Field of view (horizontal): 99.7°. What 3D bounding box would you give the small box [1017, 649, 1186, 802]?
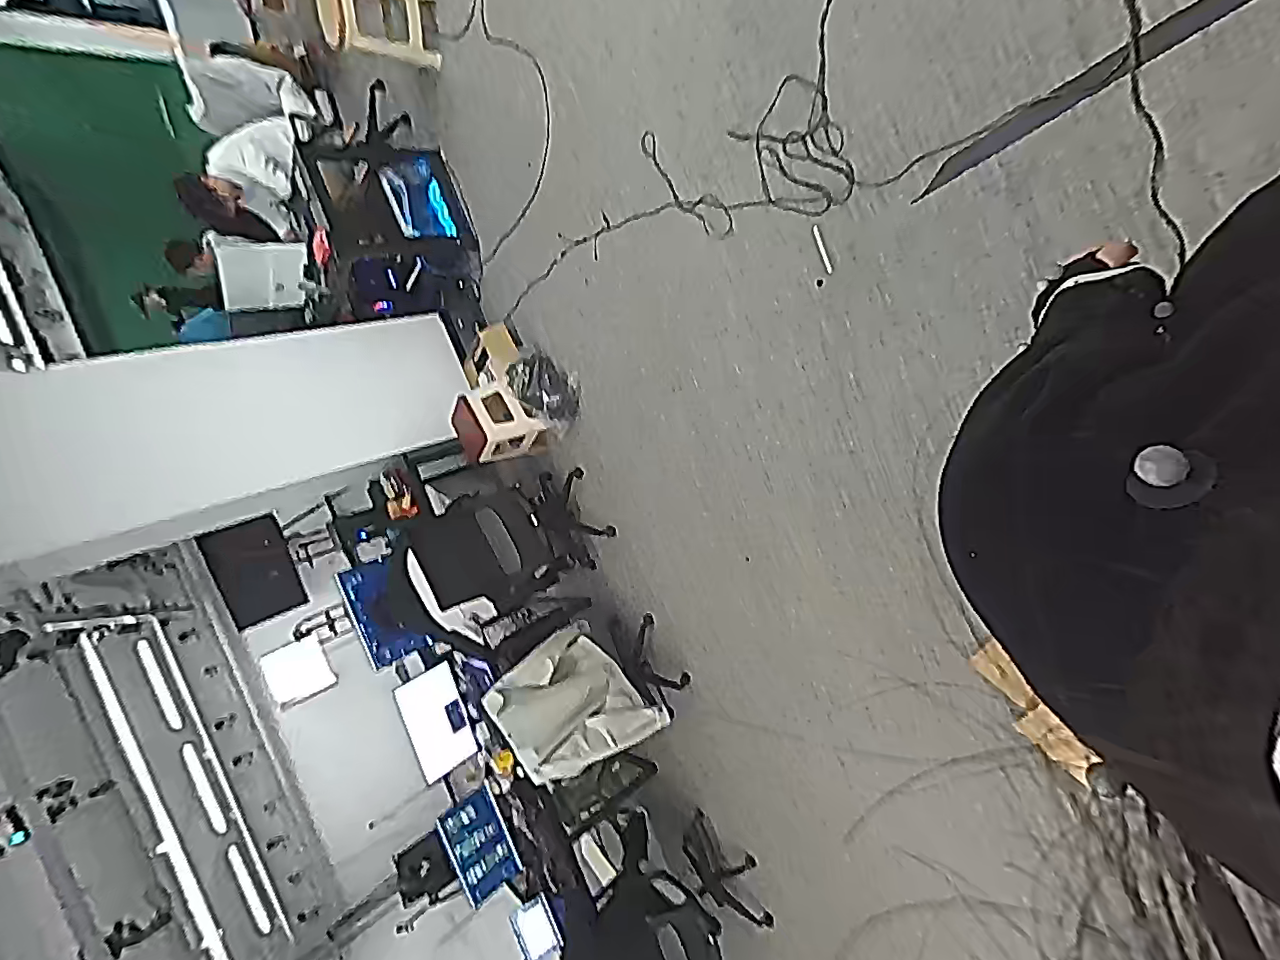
[{"bbox_3d":[0.888,0.464,1.042,0.179,0.176,0.168,42,136,32],"label":"small box"}]
